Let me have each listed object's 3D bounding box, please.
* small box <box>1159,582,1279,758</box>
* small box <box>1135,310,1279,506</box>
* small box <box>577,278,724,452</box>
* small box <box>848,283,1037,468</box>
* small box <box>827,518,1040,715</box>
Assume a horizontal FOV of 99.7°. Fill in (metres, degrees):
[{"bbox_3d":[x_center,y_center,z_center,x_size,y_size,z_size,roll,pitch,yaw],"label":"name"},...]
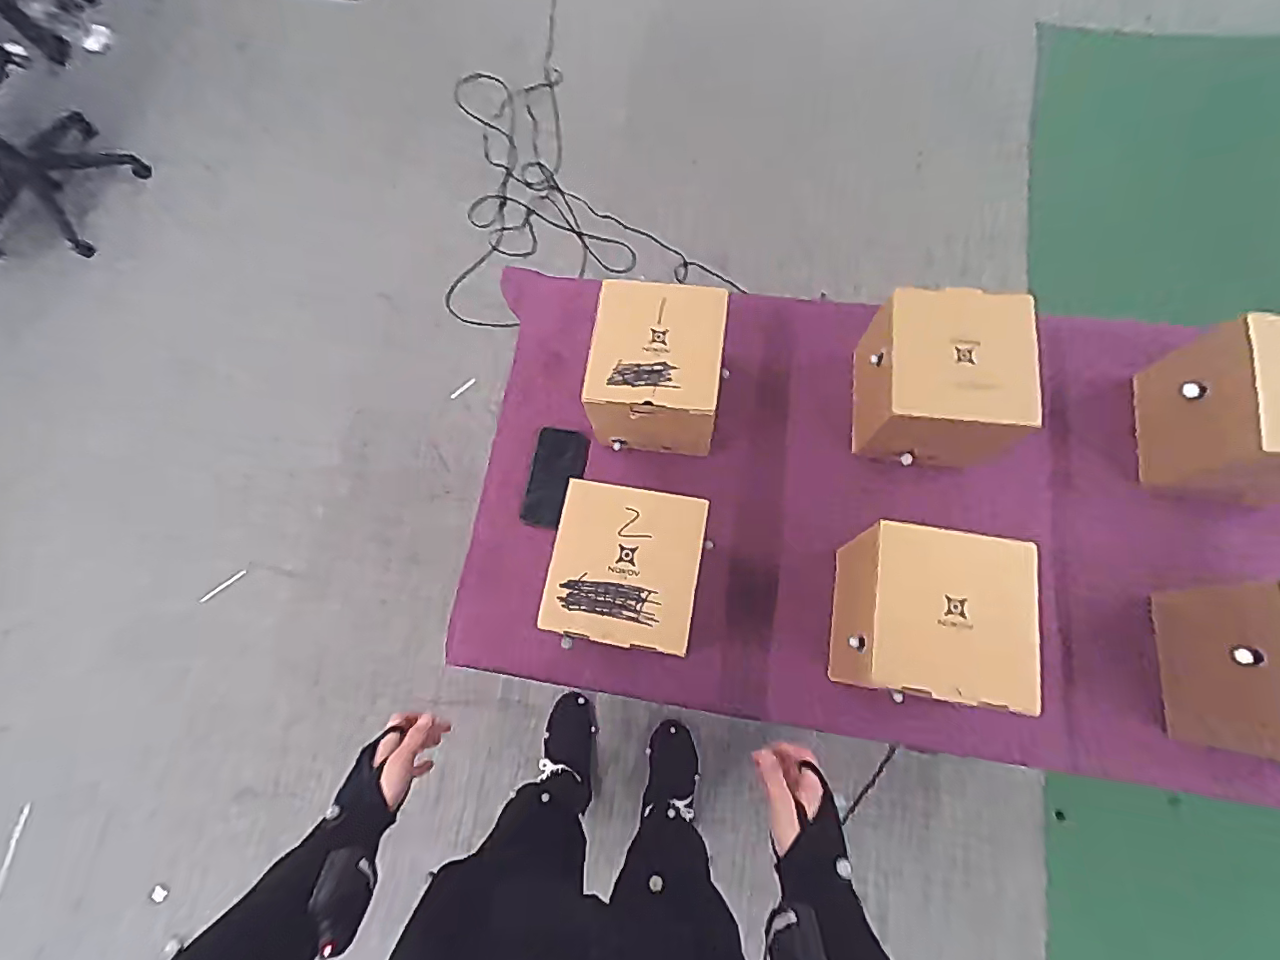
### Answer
[{"bbox_3d":[0.718,0.212,0.583,0.168,0.176,0.179,6,74,7],"label":"small box"},{"bbox_3d":[0.768,-0.081,0.672,0.168,0.176,0.179,8,74,8],"label":"small box"},{"bbox_3d":[0.021,-0.149,0.747,0.168,0.176,0.179,7,74,6],"label":"small box"},{"bbox_3d":[0.384,-0.131,0.717,0.168,0.176,0.179,6,75,7],"label":"small box"},{"bbox_3d":[0.327,0.159,0.633,0.168,0.176,0.179,9,73,7],"label":"small box"}]
